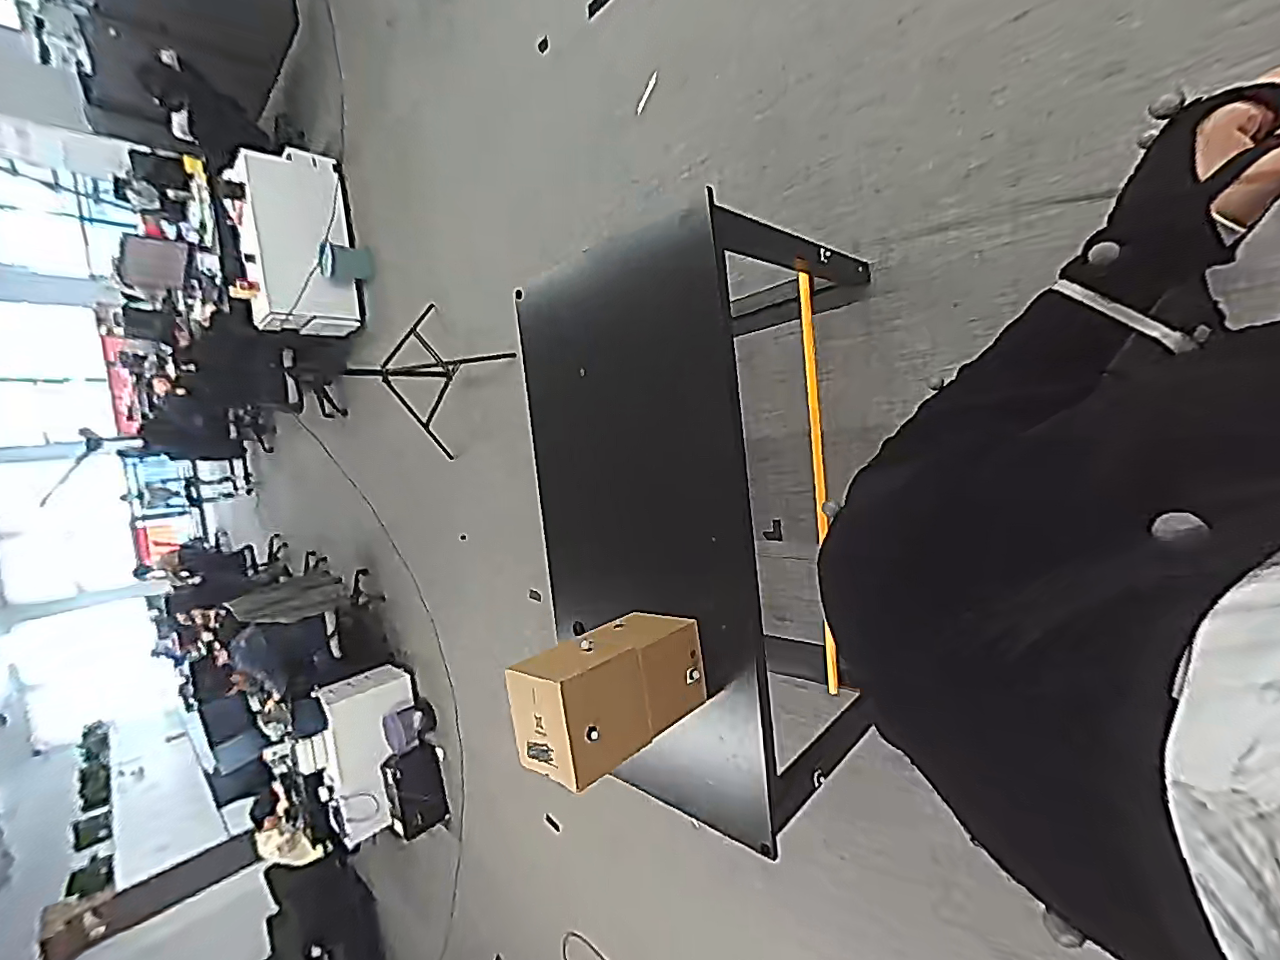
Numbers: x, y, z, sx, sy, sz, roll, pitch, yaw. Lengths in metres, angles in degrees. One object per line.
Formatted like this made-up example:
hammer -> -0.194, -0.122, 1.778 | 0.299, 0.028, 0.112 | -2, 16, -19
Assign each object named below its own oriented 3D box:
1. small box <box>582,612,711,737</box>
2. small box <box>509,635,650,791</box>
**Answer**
small box -> 0.012, 0.366, 1.057 | 0.179, 0.176, 0.168 | -8, 93, 45
small box -> -0.100, 0.390, 0.939 | 0.168, 0.176, 0.179 | -8, 92, 46
